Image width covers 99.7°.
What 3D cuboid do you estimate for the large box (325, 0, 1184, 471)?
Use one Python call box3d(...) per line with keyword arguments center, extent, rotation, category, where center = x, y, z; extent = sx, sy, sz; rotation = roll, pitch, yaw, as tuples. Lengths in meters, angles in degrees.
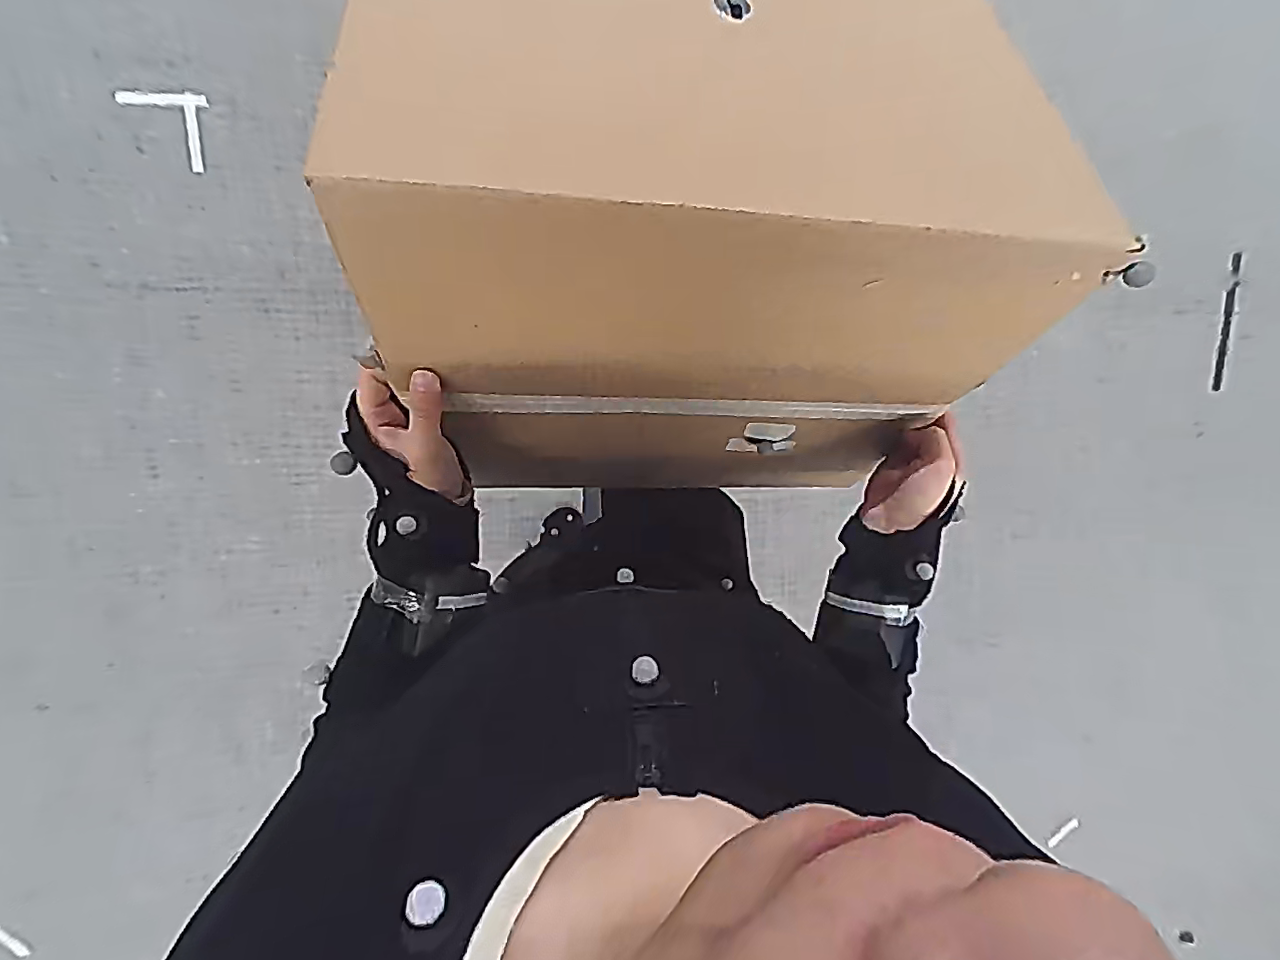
box3d(center=(0.039, -0.212, 0.430), extent=(0.408, 0.320, 0.320), rotation=(-1, 66, -10), category="large box")
